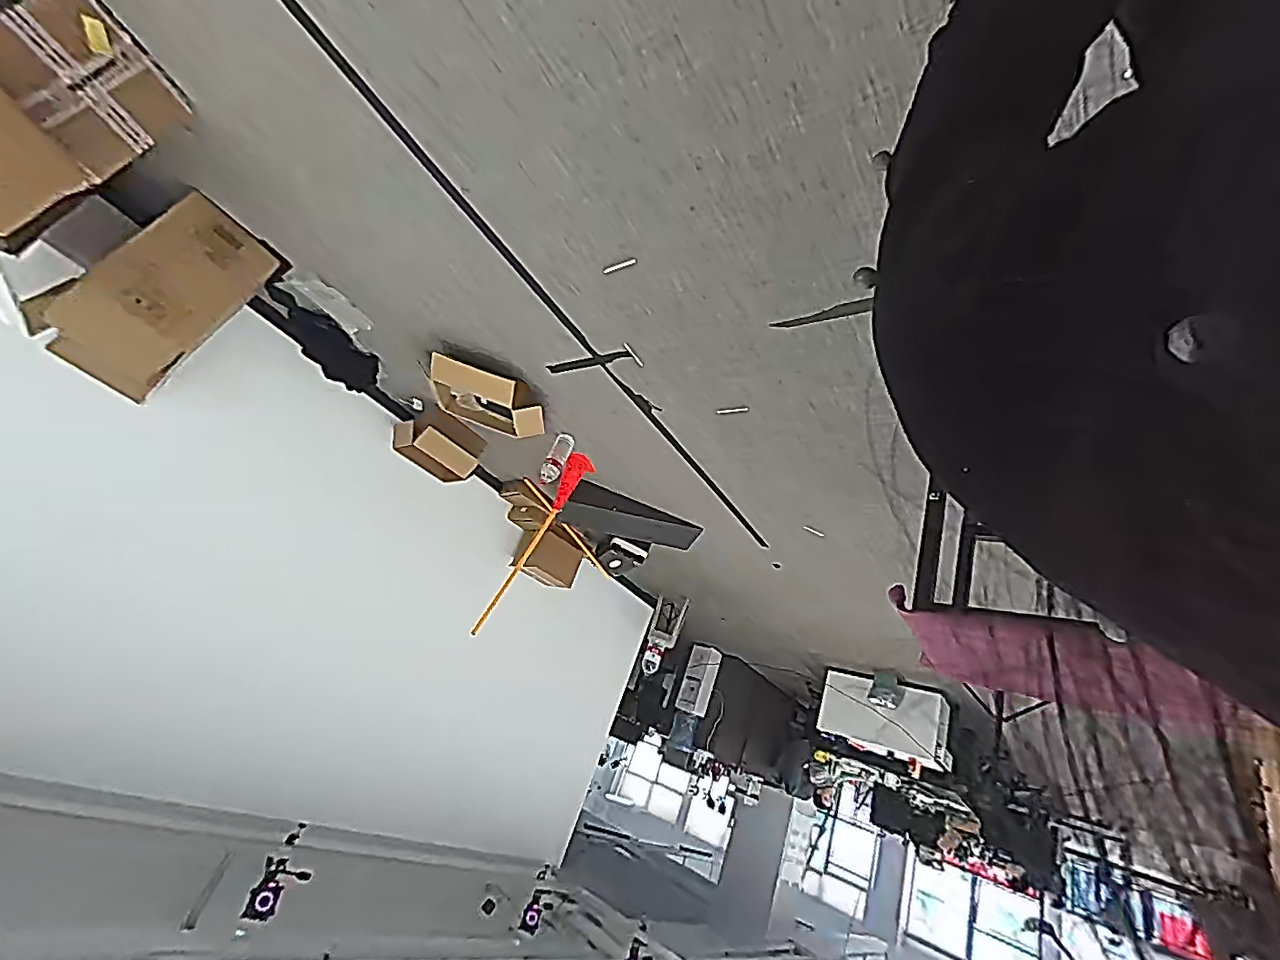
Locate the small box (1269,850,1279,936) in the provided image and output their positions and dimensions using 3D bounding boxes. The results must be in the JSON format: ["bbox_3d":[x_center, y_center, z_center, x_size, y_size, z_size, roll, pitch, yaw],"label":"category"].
[{"bbox_3d":[1.483,0.914,1.149,0.168,0.176,0.179,0,146,40],"label":"small box"}]

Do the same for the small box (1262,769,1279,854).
[{"bbox_3d":[1.546,0.777,1.216,0.168,0.176,0.179,-1,147,40],"label":"small box"}]

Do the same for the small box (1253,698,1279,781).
[{"bbox_3d":[1.600,0.637,1.282,0.168,0.176,0.179,0,147,40],"label":"small box"}]
